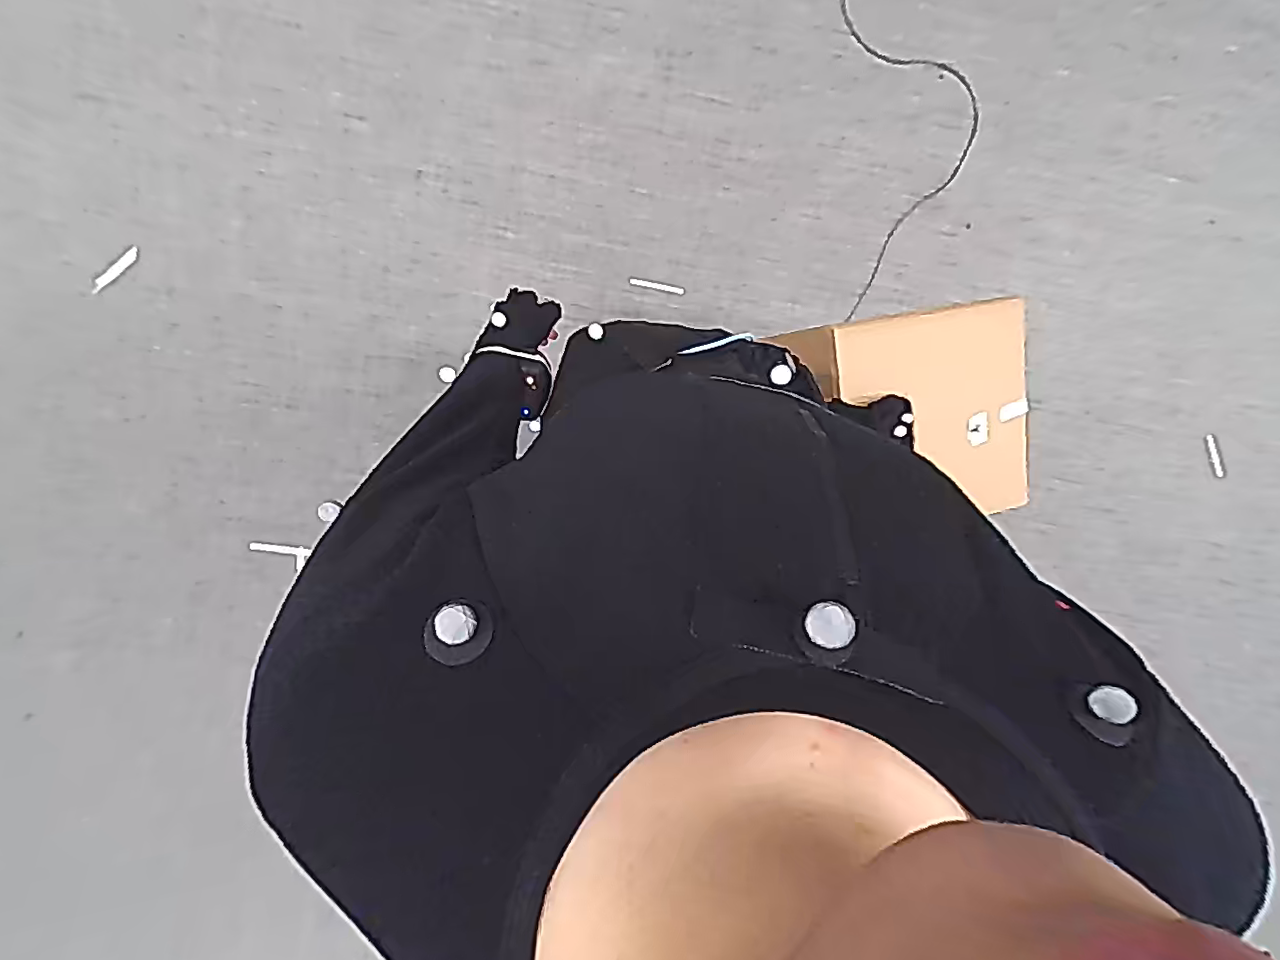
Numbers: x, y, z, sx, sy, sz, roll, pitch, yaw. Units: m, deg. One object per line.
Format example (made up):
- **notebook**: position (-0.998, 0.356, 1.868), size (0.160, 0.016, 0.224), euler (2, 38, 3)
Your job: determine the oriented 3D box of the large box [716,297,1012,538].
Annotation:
- **large box**: position (0.370, -0.120, 0.972), size (0.320, 0.408, 0.320), euler (-11, 102, -11)
